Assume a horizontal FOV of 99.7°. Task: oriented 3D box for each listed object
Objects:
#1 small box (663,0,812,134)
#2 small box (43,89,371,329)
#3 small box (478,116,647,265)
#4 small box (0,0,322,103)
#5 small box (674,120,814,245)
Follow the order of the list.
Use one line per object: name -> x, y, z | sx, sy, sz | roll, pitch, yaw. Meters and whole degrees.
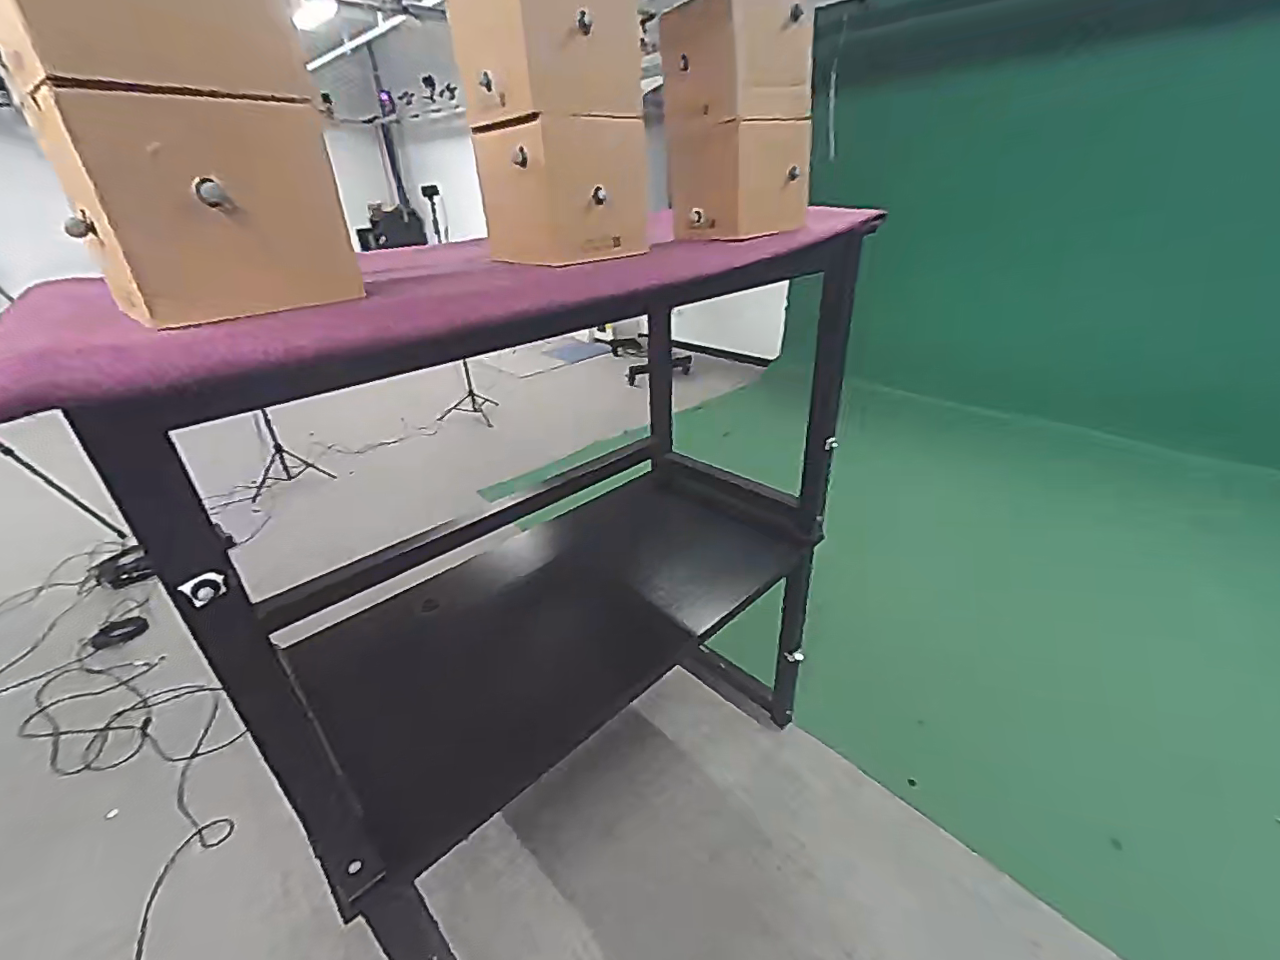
small box -> 0.158, -0.659, 0.871 | 0.179, 0.176, 0.168 | -22, 31, -29
small box -> -0.389, -0.248, 0.506 | 0.168, 0.176, 0.179 | 22, 38, 36
small box -> -0.102, -0.403, 0.766 | 0.168, 0.176, 0.179 | -25, 35, -36
small box -> -0.393, -0.393, 0.427 | 0.168, 0.176, 0.179 | 21, 35, 34
small box -> 0.178, -0.515, 0.944 | 0.179, 0.176, 0.168 | -25, 33, -30
